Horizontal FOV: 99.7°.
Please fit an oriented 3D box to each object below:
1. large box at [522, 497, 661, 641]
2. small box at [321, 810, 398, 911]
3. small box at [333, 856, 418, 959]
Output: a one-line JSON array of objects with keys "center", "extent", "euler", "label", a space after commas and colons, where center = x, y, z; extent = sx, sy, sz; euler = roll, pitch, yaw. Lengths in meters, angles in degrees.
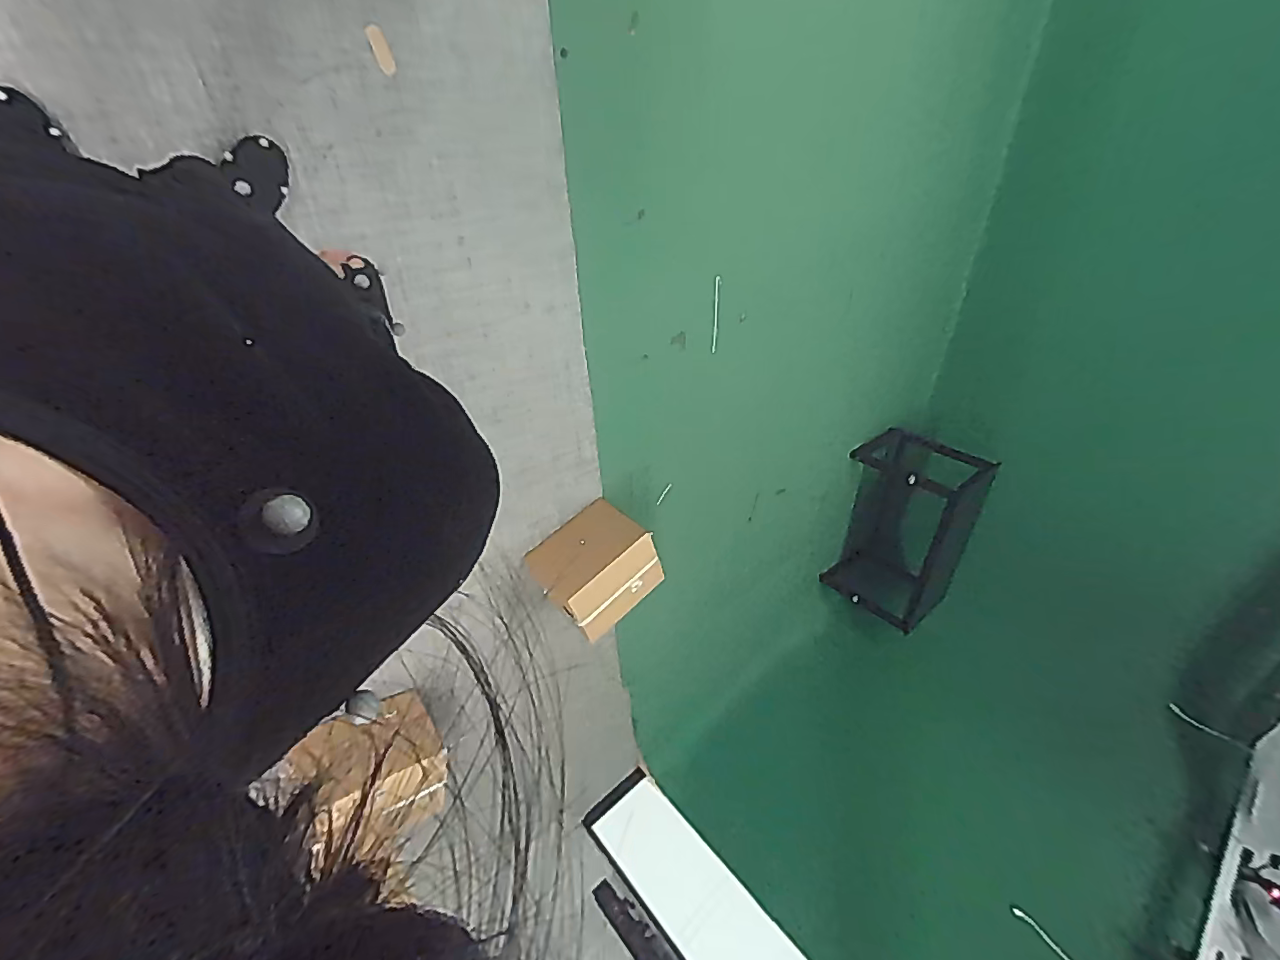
[{"center": [-0.187, 0.345, 2.161], "extent": [0.408, 0.320, 0.320], "euler": [-40, 138, -22], "label": "large box"}, {"center": [-0.845, 1.147, 1.625], "extent": [0.168, 0.176, 0.179], "euler": [-9, 122, -42], "label": "small box"}, {"center": [-0.747, 1.217, 1.517], "extent": [0.179, 0.176, 0.168], "euler": [-8, 121, -43], "label": "small box"}]
